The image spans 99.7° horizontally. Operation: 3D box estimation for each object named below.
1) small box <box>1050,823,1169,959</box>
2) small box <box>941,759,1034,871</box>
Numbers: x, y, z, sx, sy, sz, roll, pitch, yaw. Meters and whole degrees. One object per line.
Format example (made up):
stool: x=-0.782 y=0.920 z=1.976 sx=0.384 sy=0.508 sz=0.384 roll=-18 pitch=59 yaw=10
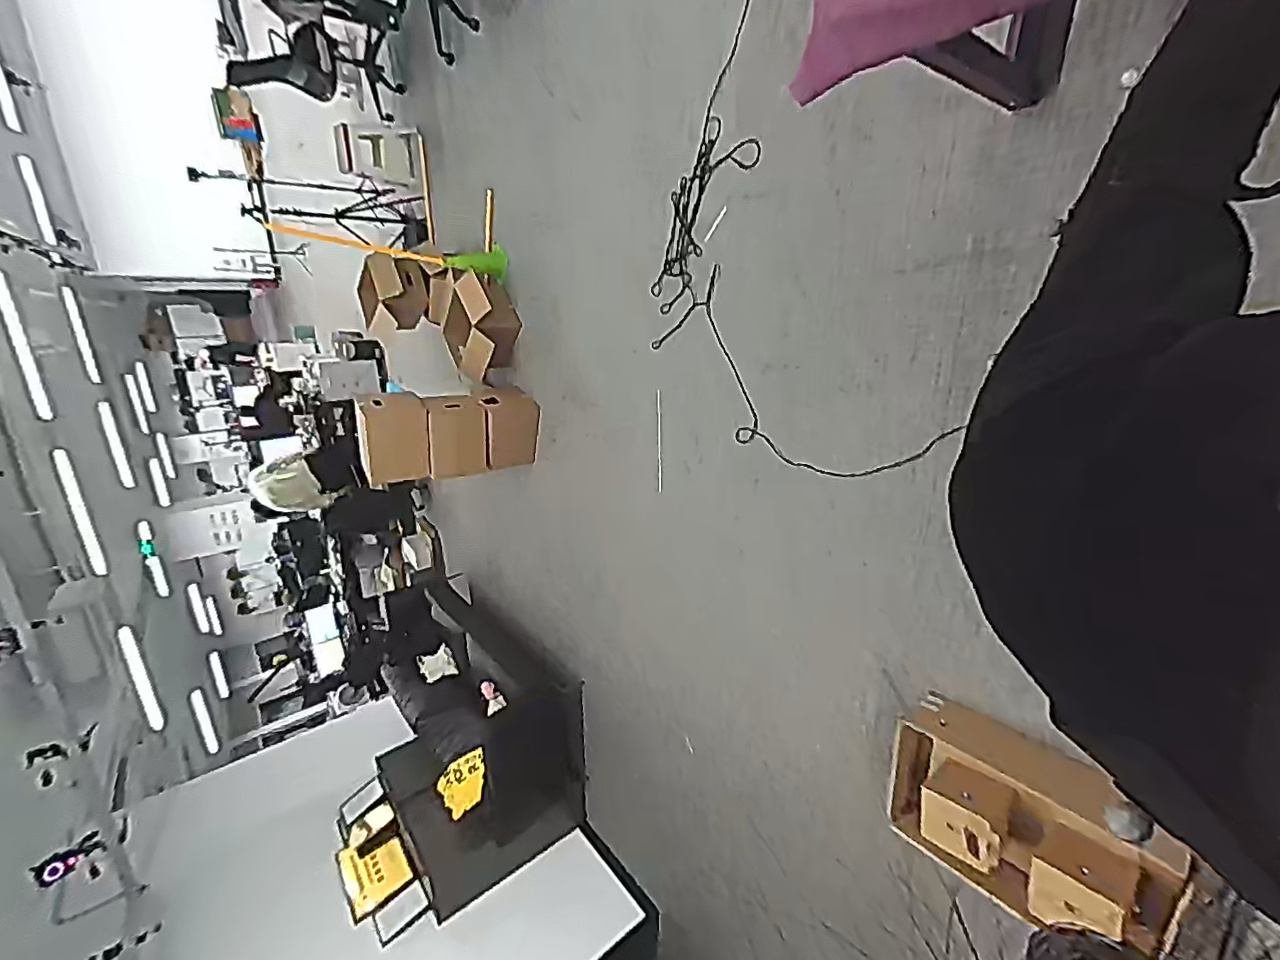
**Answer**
small box: x=1.126 y=0.978 z=1.297 sx=0.179 sy=0.176 sz=0.168 roll=15 pitch=112 yaw=53
small box: x=0.965 y=0.915 z=1.499 sx=0.179 sy=0.176 sz=0.168 roll=9 pitch=108 yaw=53
